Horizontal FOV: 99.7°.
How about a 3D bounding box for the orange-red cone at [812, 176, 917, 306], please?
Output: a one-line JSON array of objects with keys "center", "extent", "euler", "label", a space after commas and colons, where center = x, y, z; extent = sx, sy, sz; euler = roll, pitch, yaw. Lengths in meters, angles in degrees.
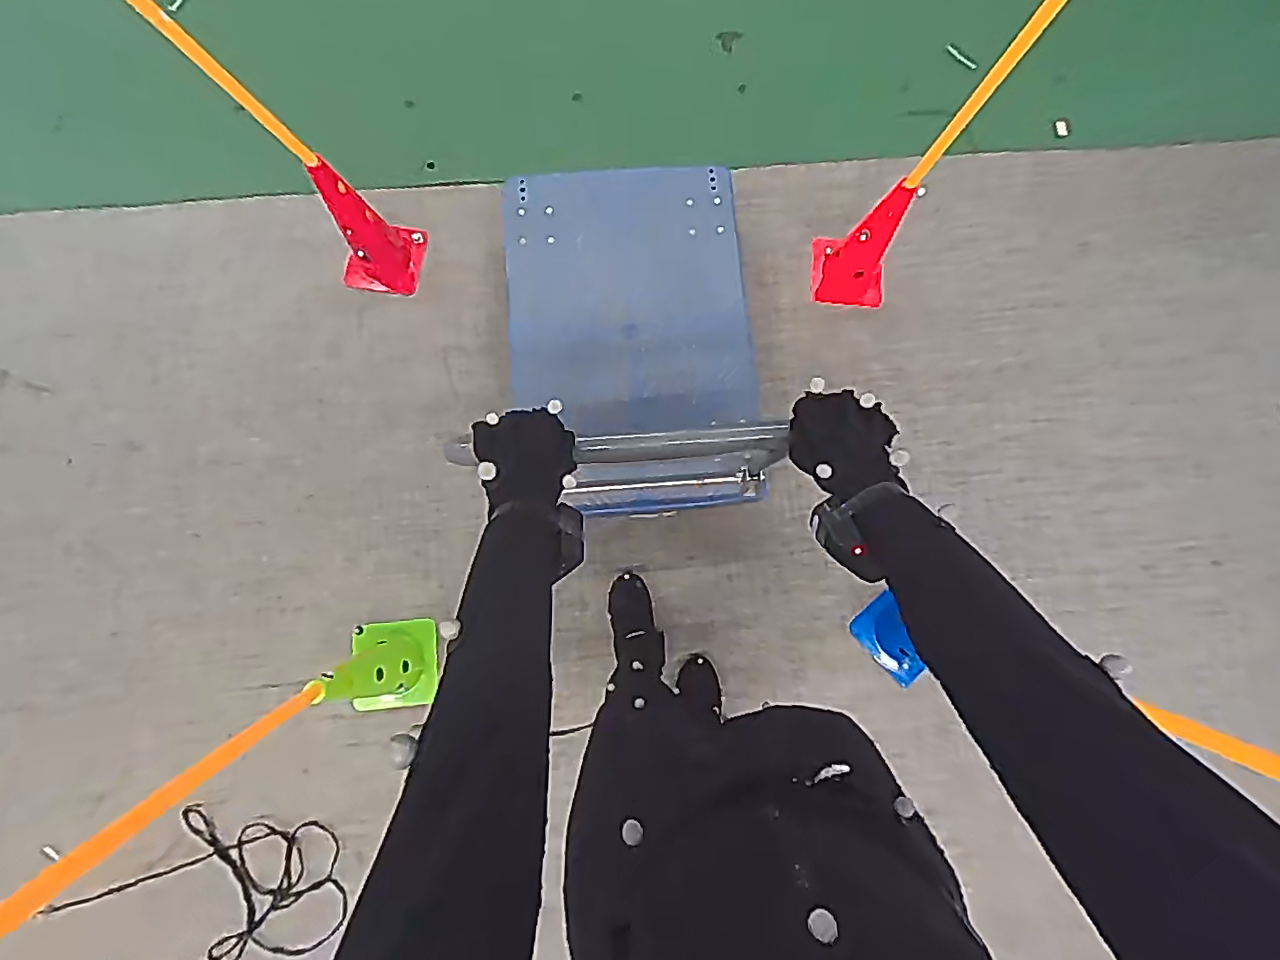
[{"center": [0.591, -0.617, 1.358], "extent": [0.198, 0.360, 0.199], "euler": [7, 80, 1], "label": "orange-red cone"}]
